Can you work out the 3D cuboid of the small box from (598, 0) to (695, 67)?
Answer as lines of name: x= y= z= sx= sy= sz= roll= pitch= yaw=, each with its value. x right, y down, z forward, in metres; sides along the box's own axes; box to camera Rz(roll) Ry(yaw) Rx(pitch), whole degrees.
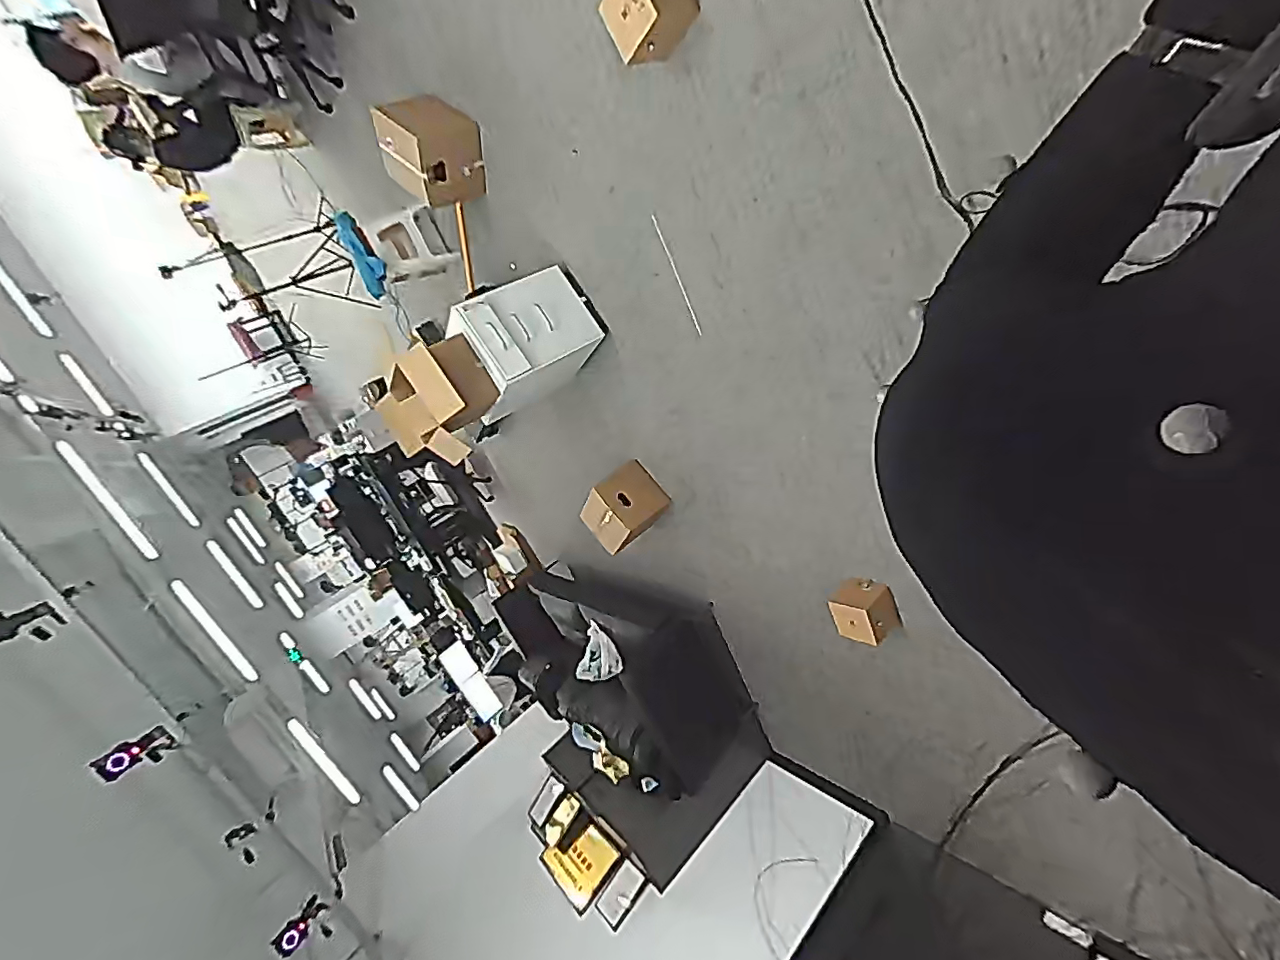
small box: x=0.019 y=-1.297 z=1.497 sx=0.179 sy=0.176 sz=0.168 roll=-13 pitch=110 yaw=59

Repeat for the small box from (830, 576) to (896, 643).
small box: x=0.891 y=0.510 z=2.148 sx=0.168 sy=0.176 sz=0.179 roll=2 pitch=122 yaw=54
